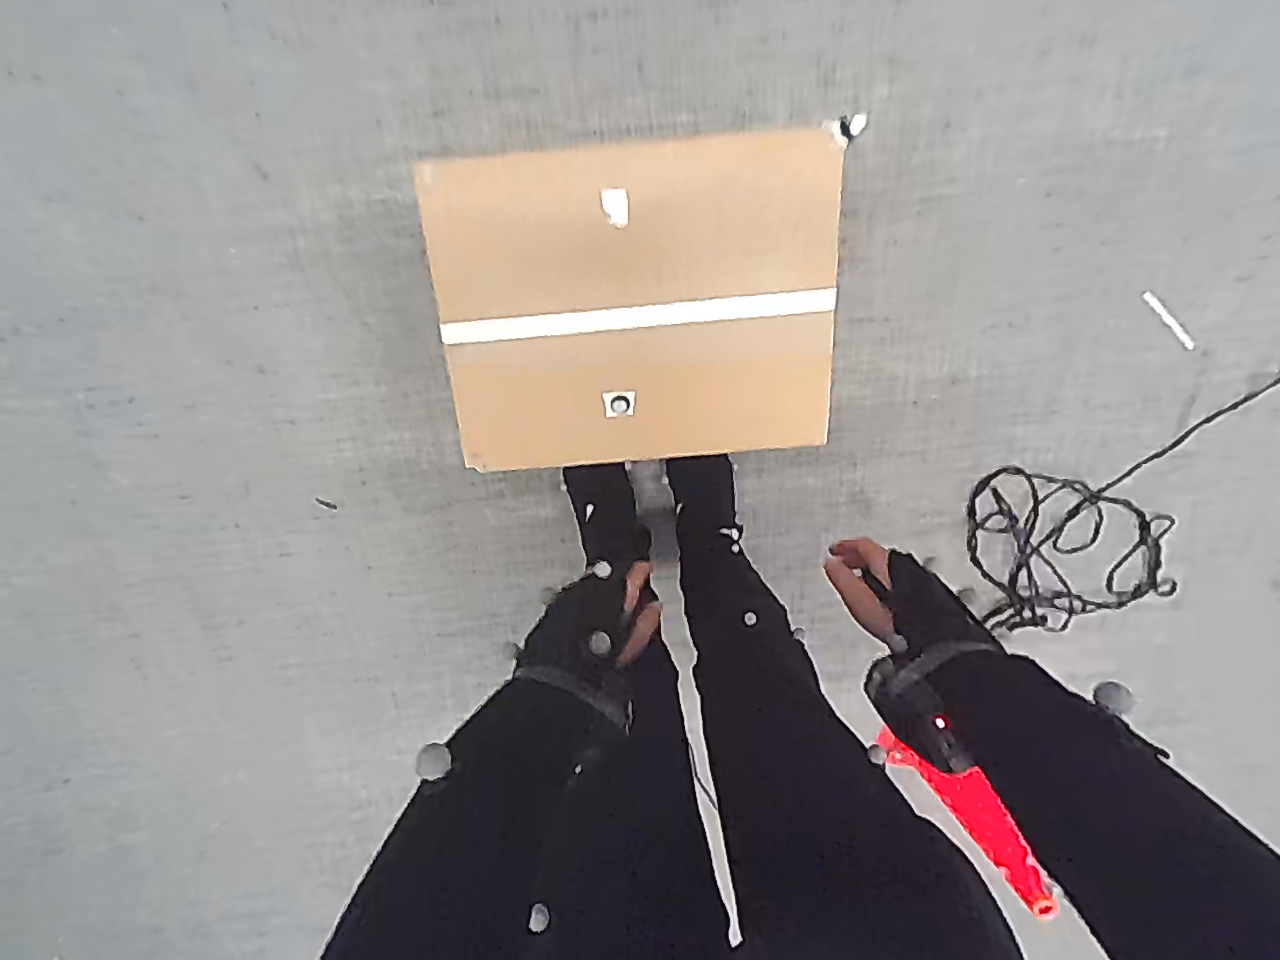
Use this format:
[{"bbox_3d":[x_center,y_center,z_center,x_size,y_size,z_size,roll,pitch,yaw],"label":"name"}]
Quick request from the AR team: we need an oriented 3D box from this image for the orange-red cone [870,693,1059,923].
[{"bbox_3d":[0.617,0.601,0.989,0.199,0.360,0.198,12,110,-8],"label":"orange-red cone"}]
